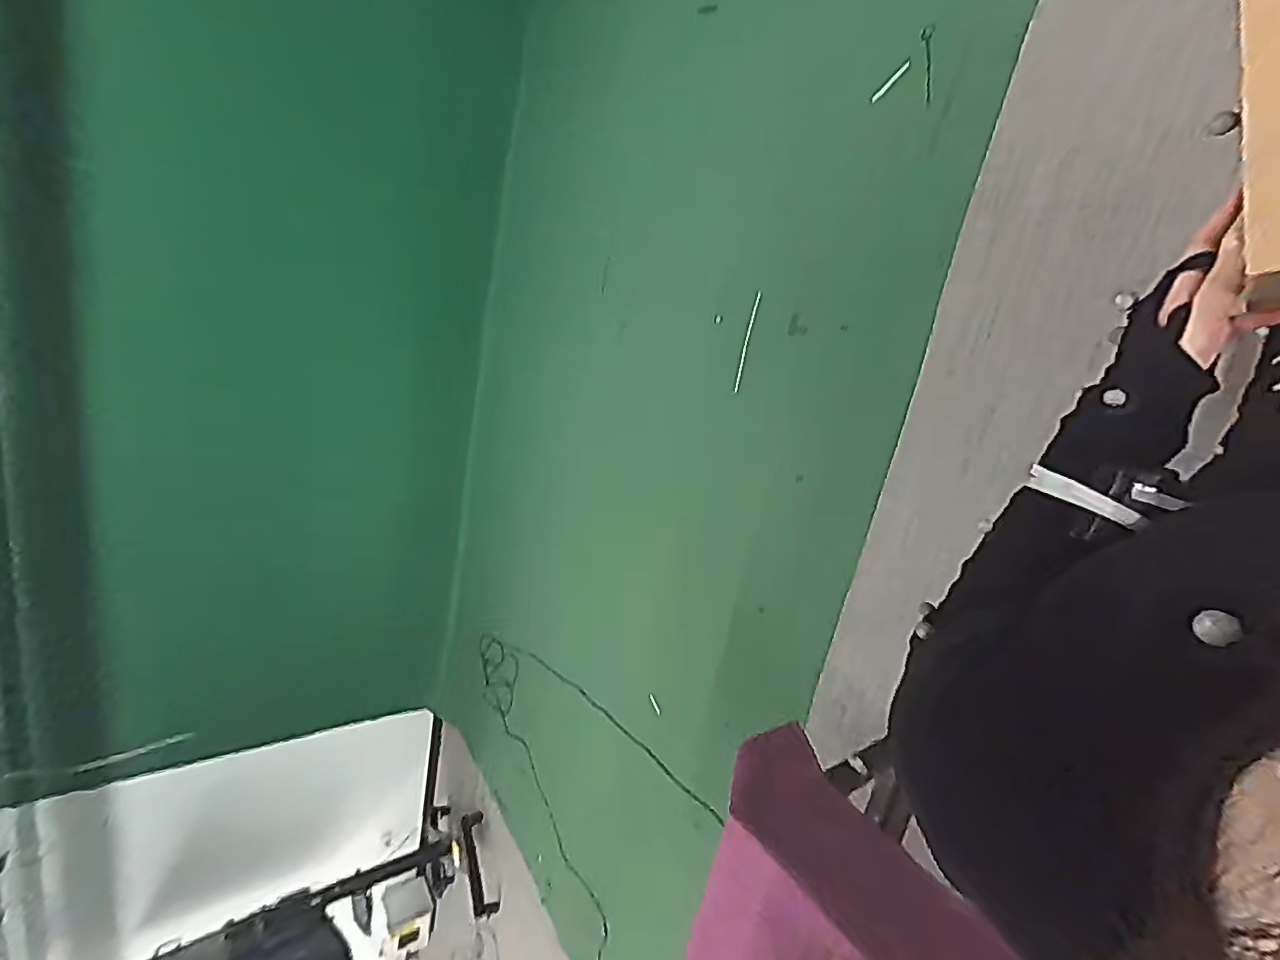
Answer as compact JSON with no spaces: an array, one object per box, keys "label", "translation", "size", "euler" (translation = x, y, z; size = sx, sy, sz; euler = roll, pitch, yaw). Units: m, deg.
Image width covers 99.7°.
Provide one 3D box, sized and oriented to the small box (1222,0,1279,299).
[{"label":"small box","translation":[0.436,-0.213,0.290],"size":[0.168,0.176,0.179],"euler":[0,95,50]}]
